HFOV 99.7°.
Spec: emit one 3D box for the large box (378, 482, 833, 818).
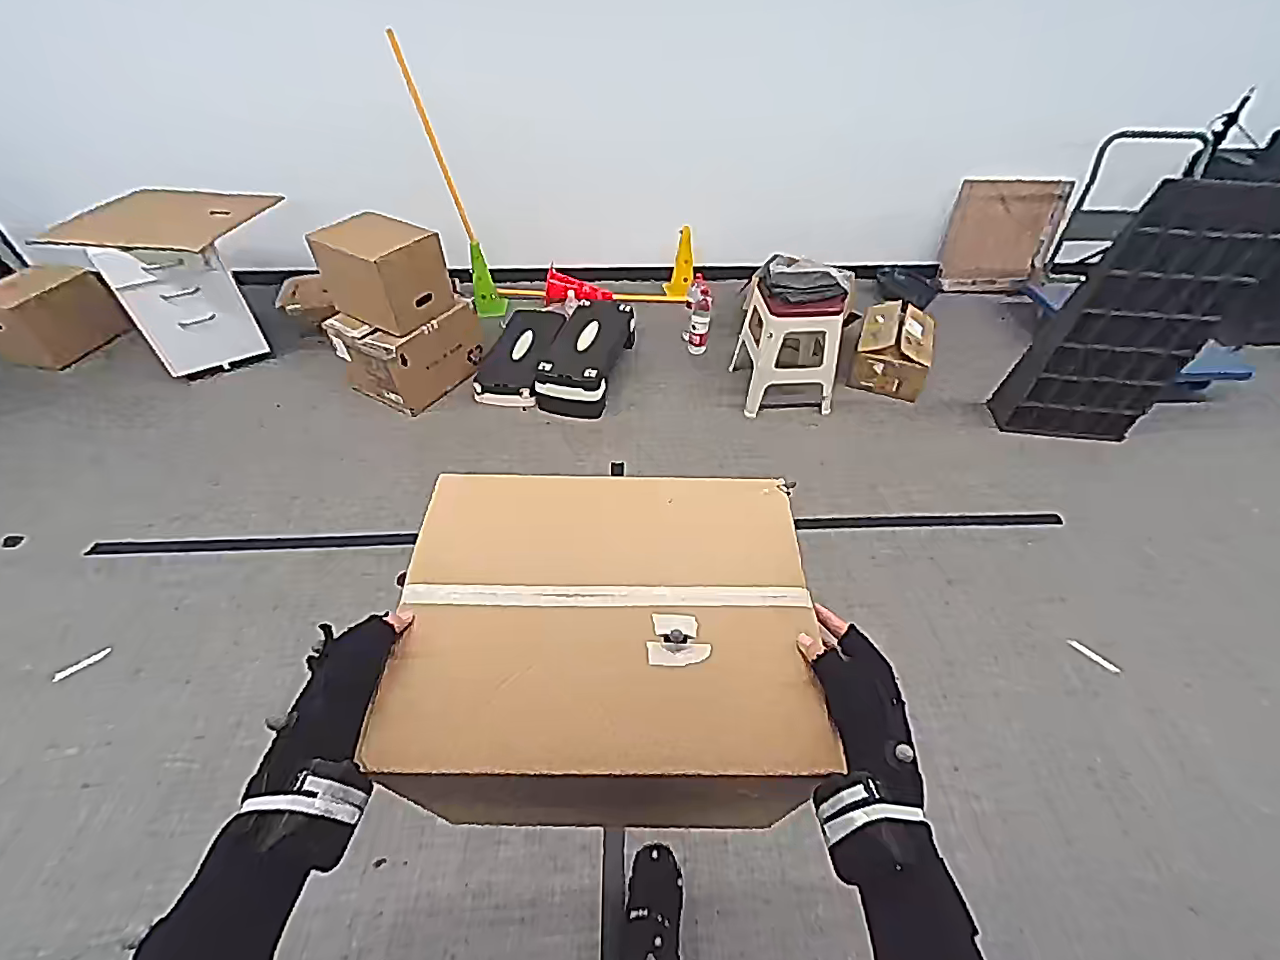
[{"bbox_3d":[-0.035,0.217,0.673,0.408,0.320,0.320,1,52,-1],"label":"large box"}]
